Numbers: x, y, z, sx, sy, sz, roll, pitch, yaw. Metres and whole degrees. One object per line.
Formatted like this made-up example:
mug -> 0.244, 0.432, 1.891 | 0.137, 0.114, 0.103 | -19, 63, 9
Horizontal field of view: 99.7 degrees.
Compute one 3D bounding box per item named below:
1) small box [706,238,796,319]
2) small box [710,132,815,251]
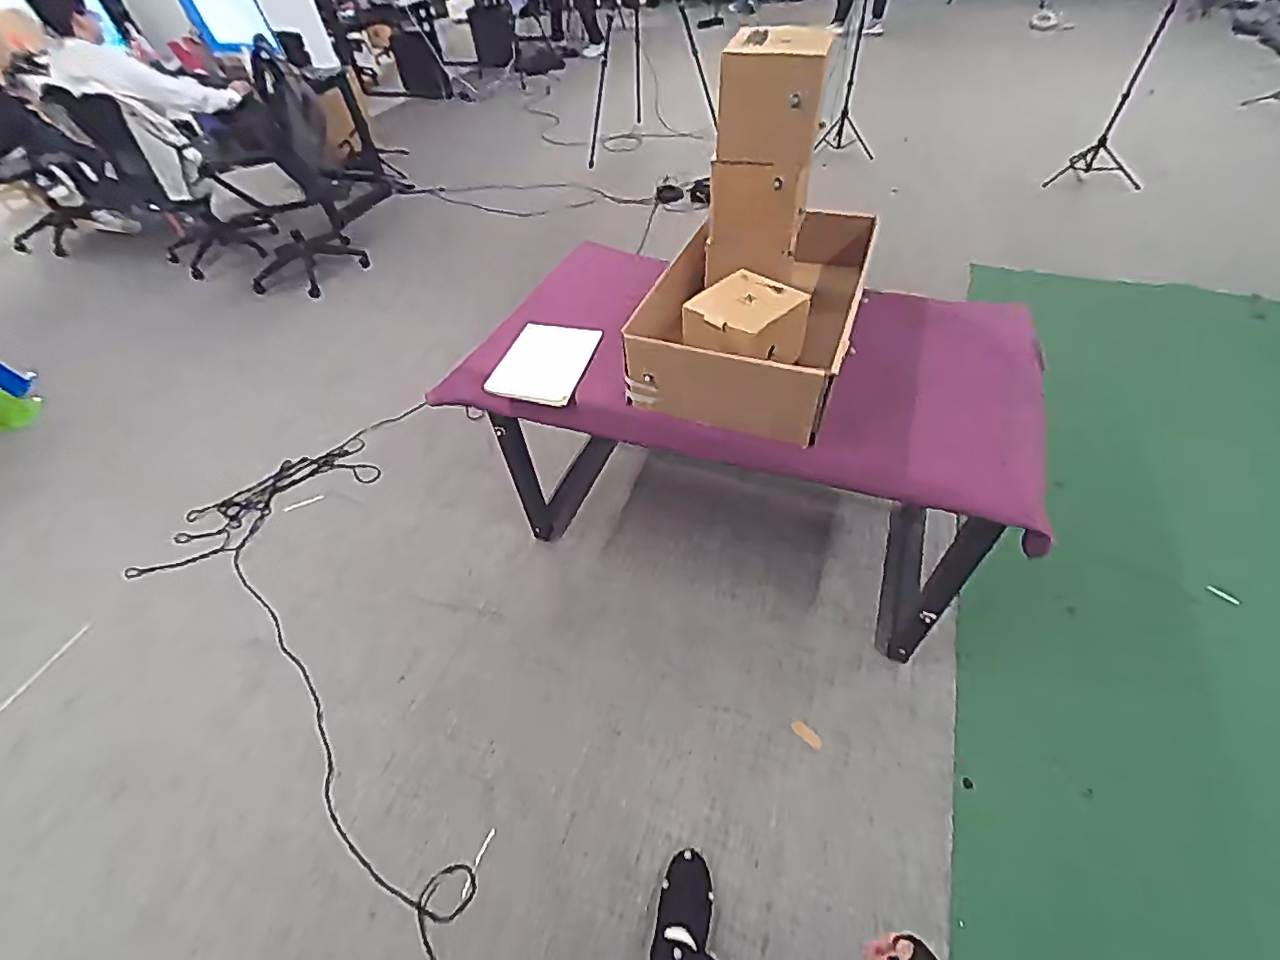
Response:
small box -> 0.258, -0.497, 1.248 | 0.168, 0.176, 0.179 | 16, 54, 18
small box -> 0.249, -0.596, 1.121 | 0.179, 0.176, 0.168 | 14, 54, 16
